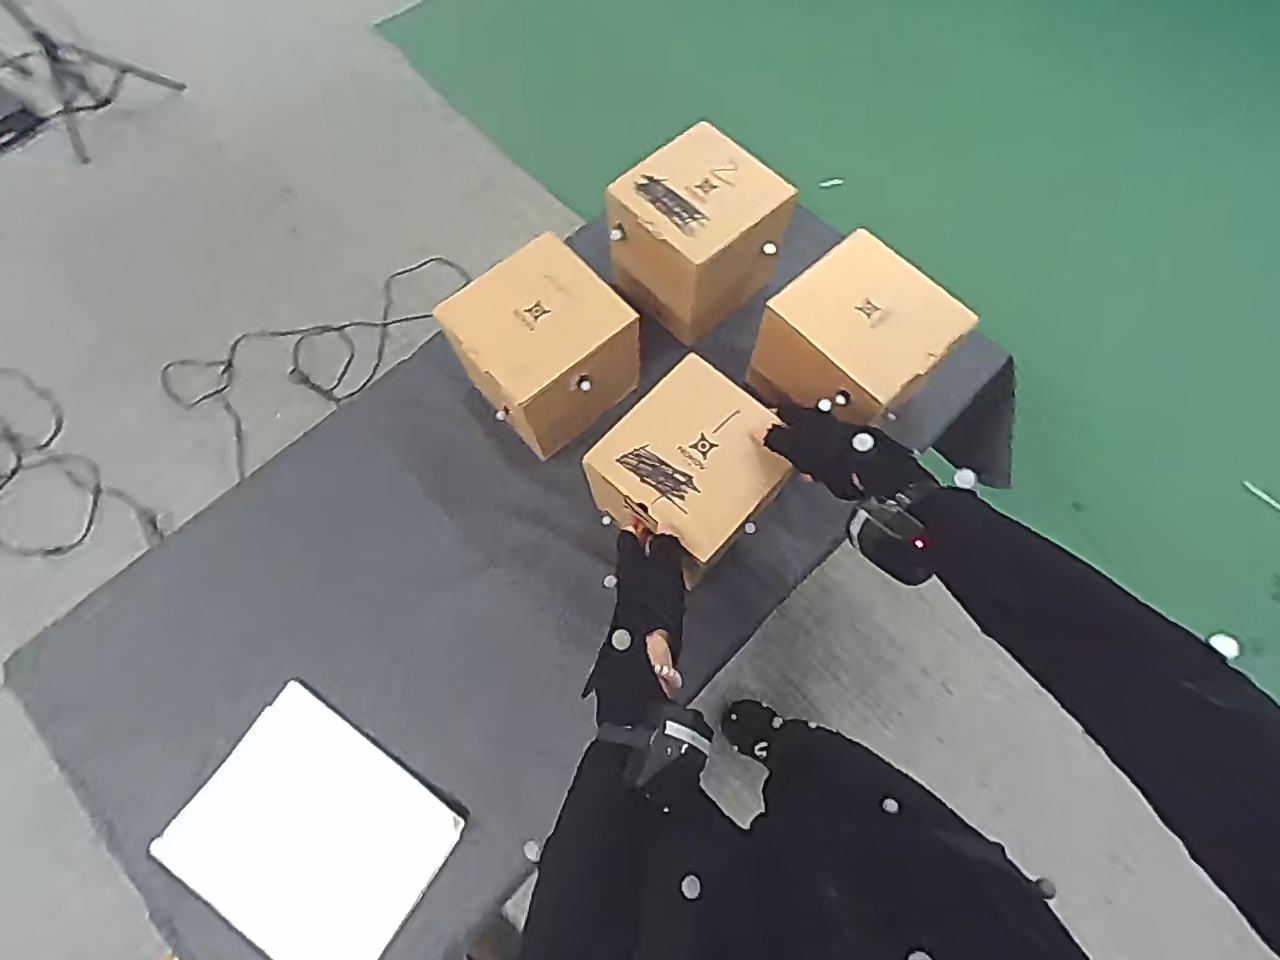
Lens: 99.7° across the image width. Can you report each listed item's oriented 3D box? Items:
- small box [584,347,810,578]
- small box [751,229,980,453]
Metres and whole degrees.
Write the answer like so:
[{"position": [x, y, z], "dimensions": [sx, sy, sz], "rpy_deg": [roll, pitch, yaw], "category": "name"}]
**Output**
[{"position": [0.060, -0.009, 0.625], "dimensions": [0.168, 0.176, 0.179], "rpy_deg": [42, 75, 13], "category": "small box"}, {"position": [0.263, -0.164, 0.681], "dimensions": [0.168, 0.176, 0.179], "rpy_deg": [-39, 74, -12], "category": "small box"}]
